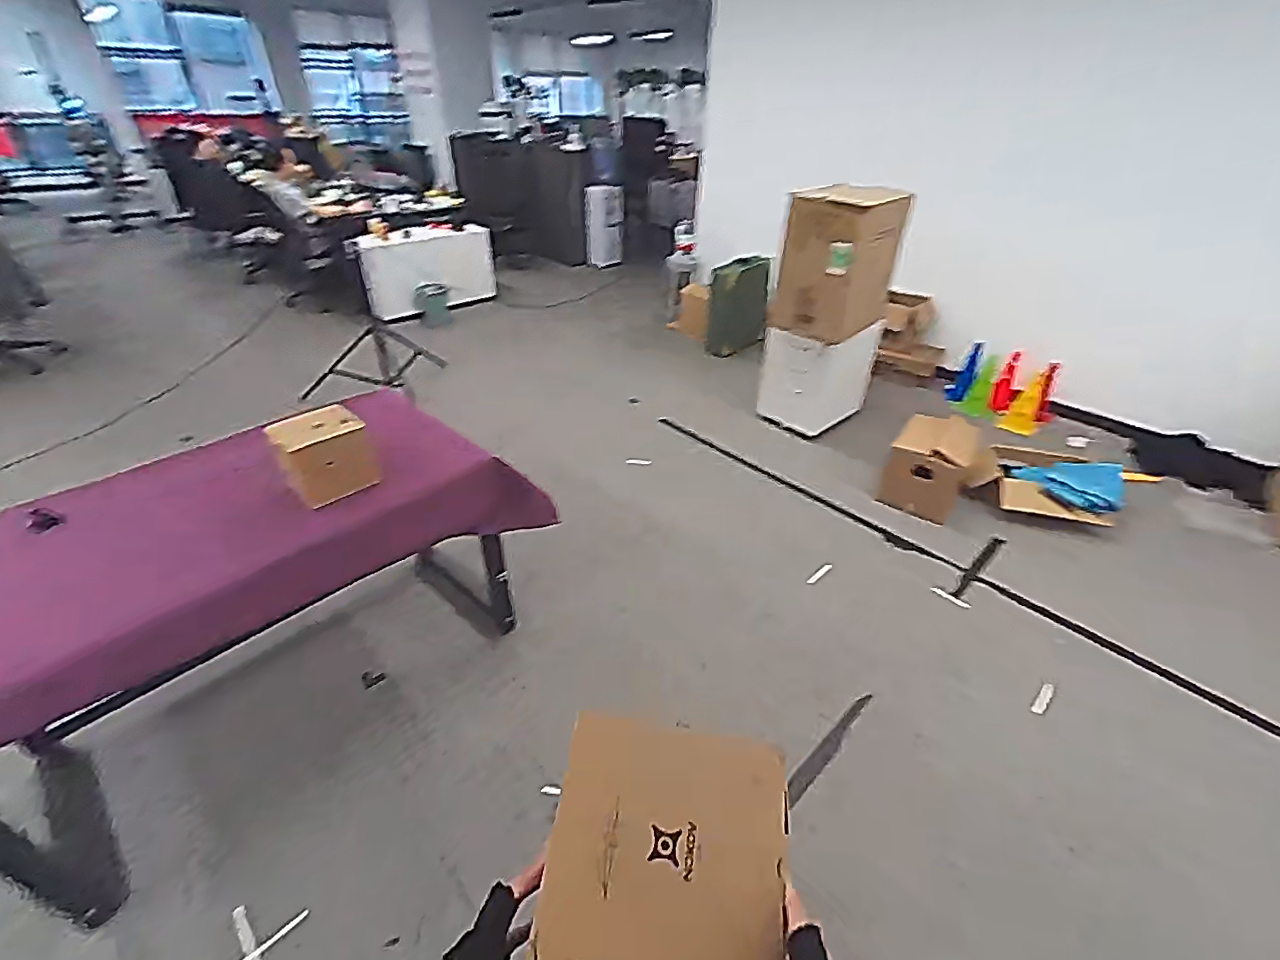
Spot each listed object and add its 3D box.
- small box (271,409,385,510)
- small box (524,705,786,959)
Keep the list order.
[{"bbox_3d":[-0.776,-0.052,1.356,0.168,0.176,0.179,29,44,34],"label":"small box"},{"bbox_3d":[0.013,0.308,0.462,0.179,0.176,0.168,8,54,1],"label":"small box"}]
